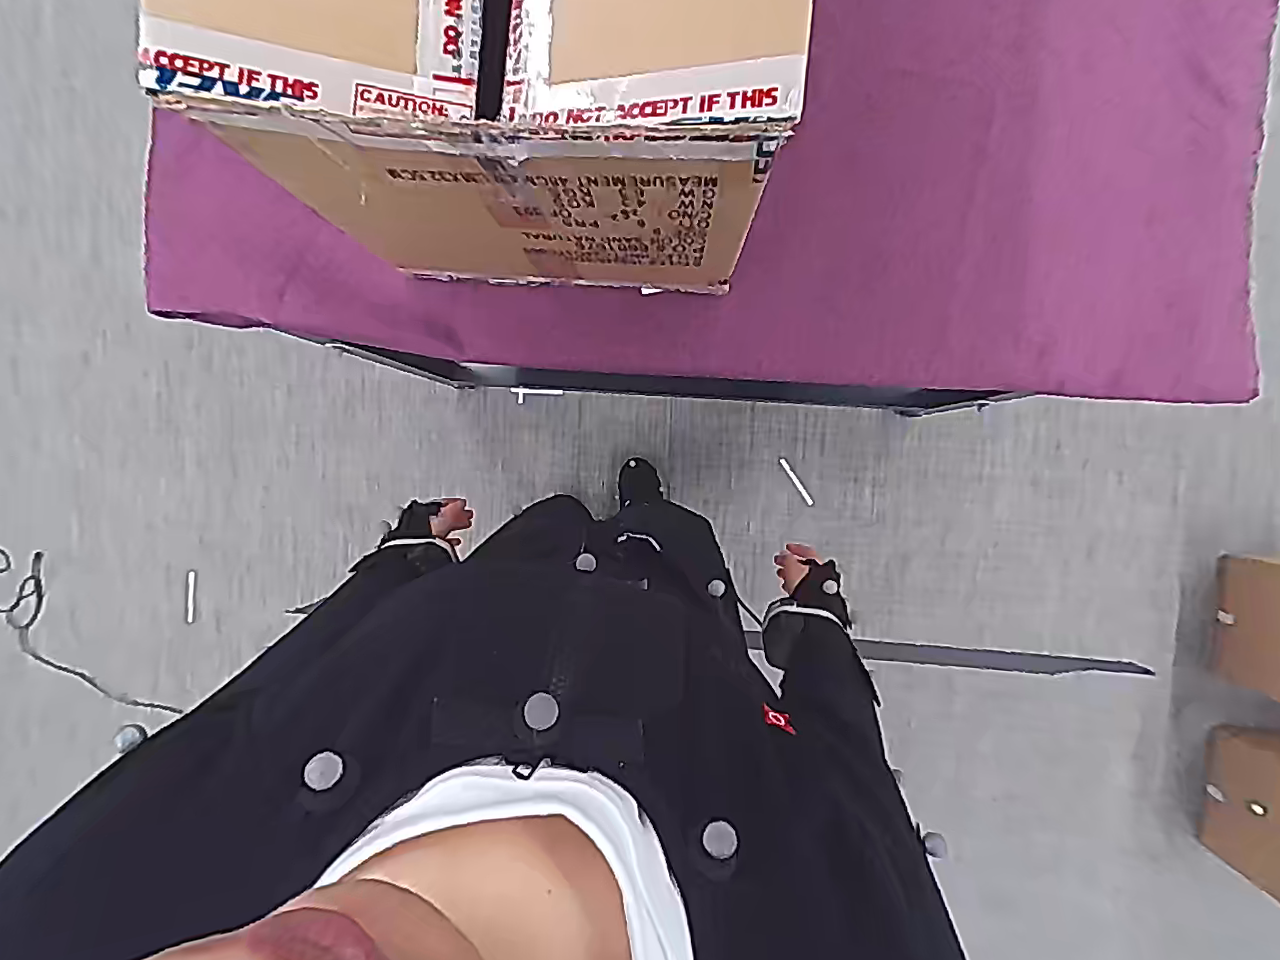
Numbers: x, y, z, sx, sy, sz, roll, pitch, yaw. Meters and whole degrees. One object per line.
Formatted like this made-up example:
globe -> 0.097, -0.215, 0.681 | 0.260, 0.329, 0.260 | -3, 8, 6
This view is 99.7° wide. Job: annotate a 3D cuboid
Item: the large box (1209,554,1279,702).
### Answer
large box -> 1.600, 0.343, 1.170 | 0.408, 0.320, 0.320 | 2, 92, 3
